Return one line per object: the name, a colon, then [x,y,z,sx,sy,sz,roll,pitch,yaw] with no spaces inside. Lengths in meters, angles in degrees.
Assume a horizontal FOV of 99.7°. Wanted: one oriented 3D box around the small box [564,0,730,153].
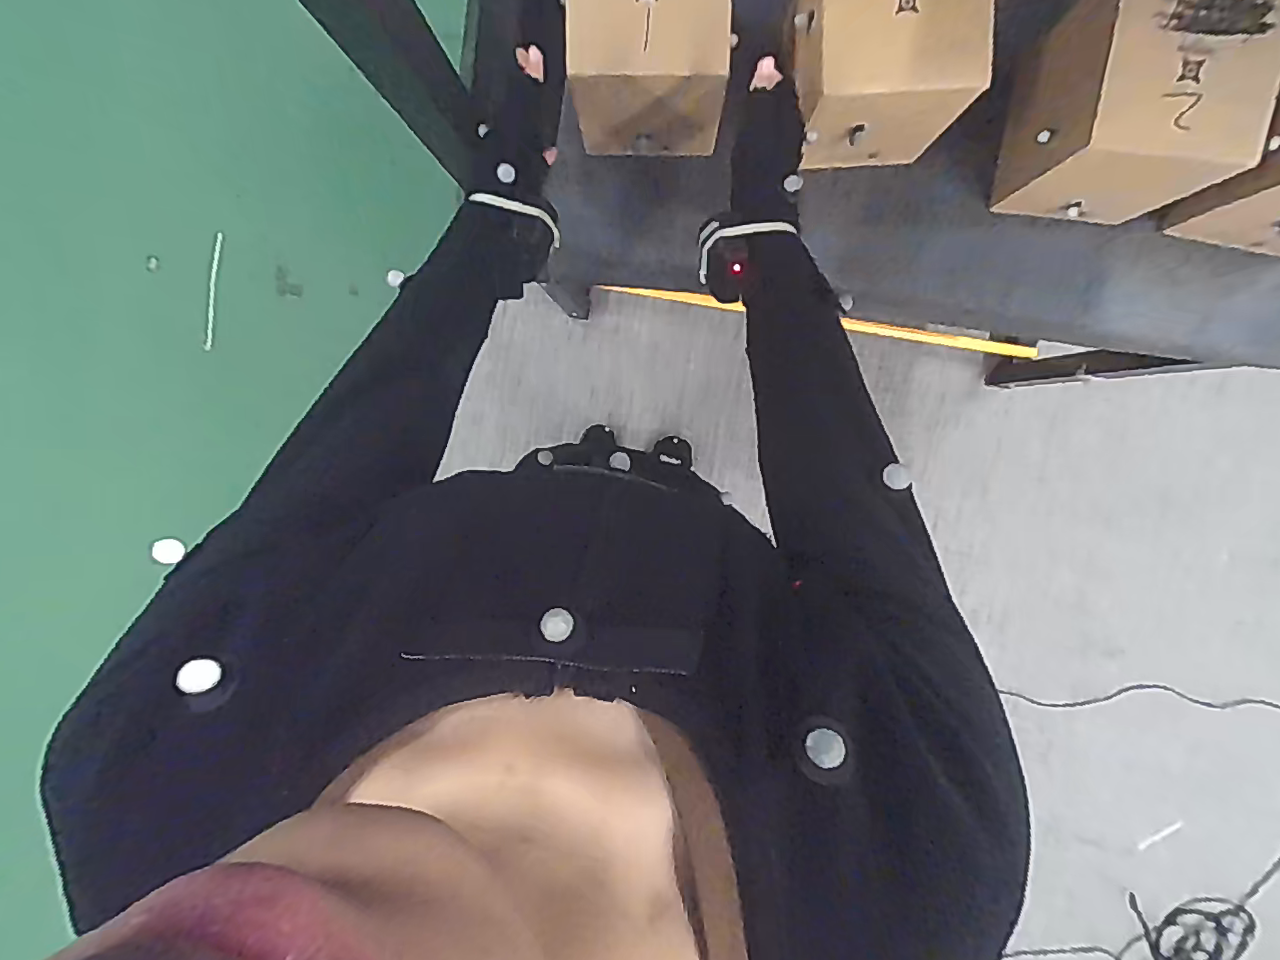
small box: [0.010,-0.503,0.608,0.168,0.176,0.179,2,97,2]
